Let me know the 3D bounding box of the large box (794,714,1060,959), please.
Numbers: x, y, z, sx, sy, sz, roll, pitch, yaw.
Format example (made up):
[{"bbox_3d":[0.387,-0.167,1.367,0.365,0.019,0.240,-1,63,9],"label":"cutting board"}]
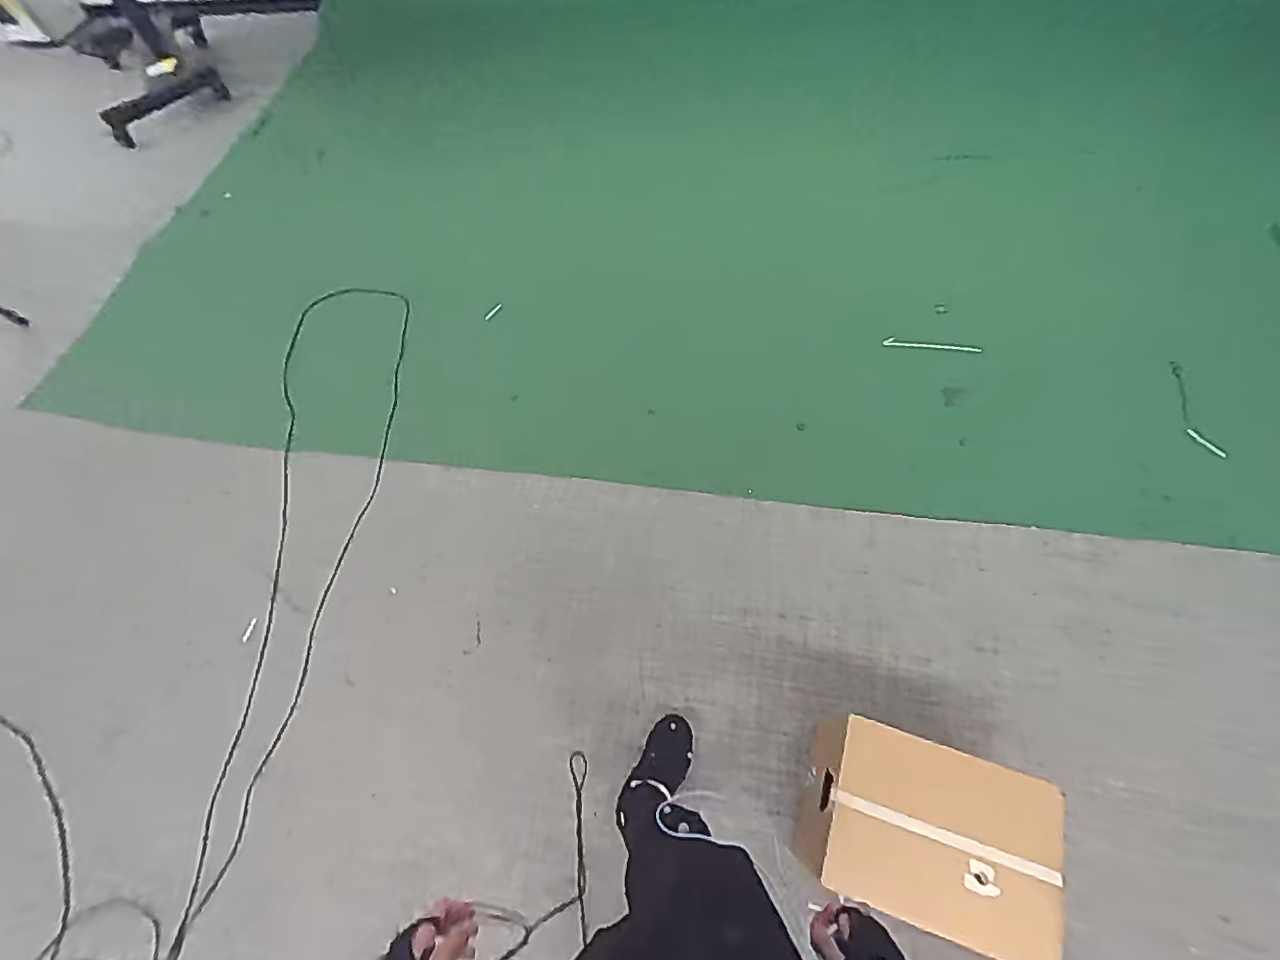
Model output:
[{"bbox_3d":[0.576,0.729,1.147,0.408,0.320,0.320,15,66,12],"label":"large box"}]
